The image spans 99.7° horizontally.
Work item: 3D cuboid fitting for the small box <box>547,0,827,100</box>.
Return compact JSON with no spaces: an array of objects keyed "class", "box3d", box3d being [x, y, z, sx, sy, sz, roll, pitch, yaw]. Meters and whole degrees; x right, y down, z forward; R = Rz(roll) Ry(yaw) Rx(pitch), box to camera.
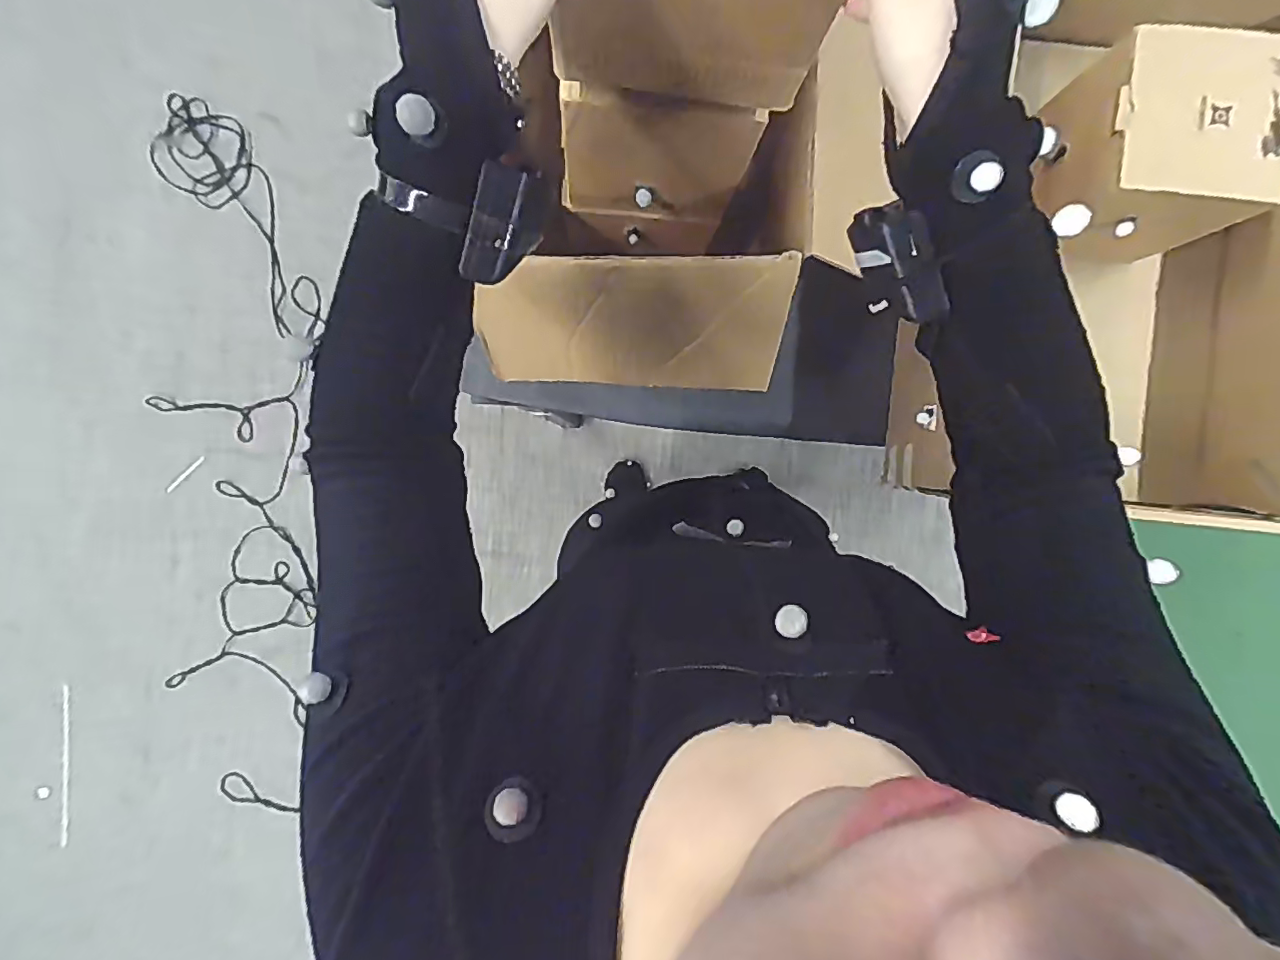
[{"class":"small box","box3d":[0.035,-0.362,0.315,0.179,0.176,0.168,5,94,-5]}]
